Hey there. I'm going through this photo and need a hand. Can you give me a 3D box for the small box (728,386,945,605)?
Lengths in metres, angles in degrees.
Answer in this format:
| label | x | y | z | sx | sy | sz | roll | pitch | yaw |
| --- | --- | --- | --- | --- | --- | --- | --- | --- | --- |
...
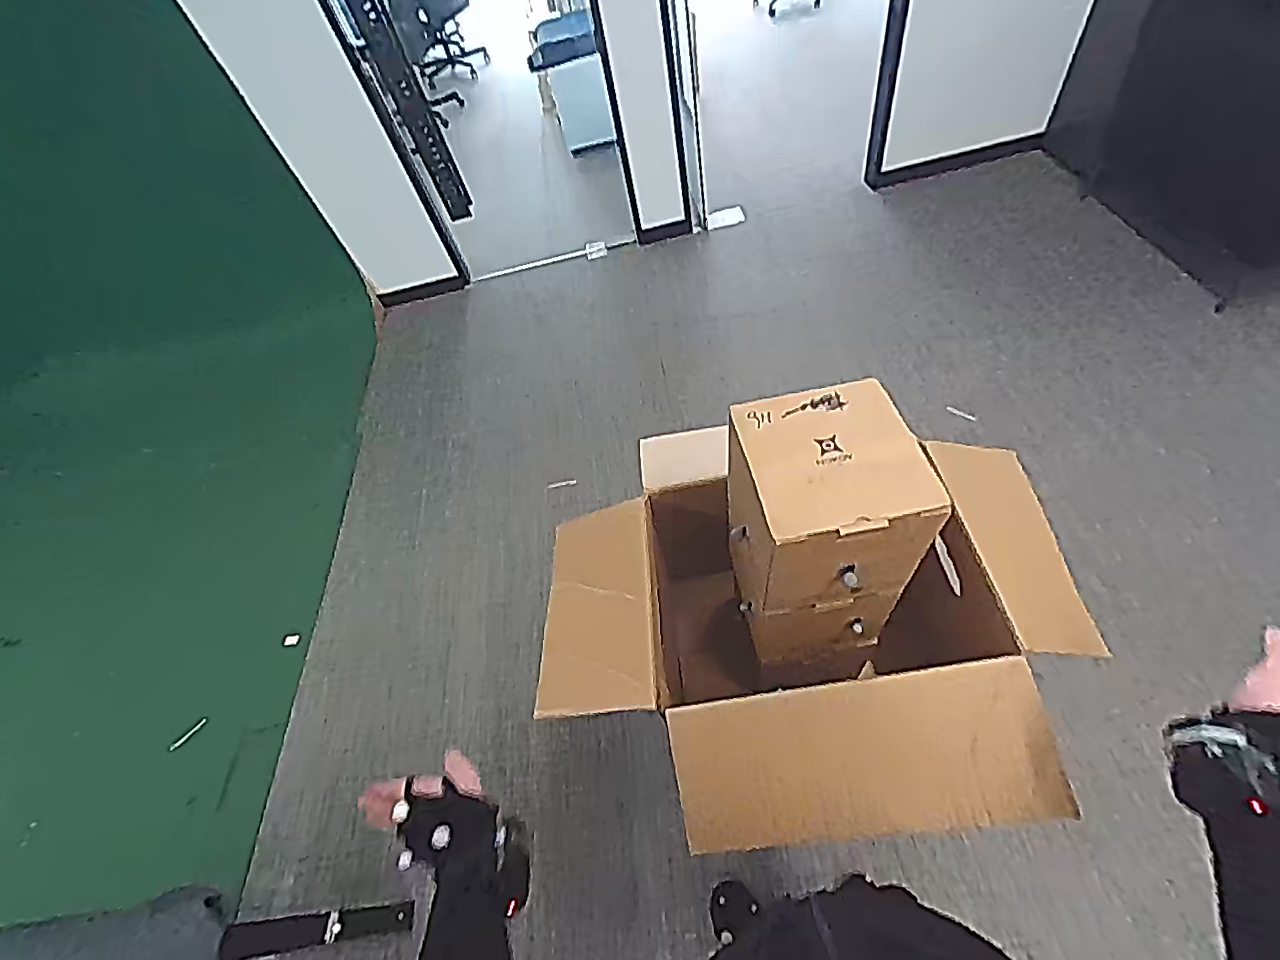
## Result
| label | x | y | z | sx | sy | sz | roll | pitch | yaw |
| --- | --- | --- | --- | --- | --- | --- | --- | --- | --- |
| small box | 0.197 | 0.027 | 0.602 | 0.168 | 0.176 | 0.179 | -10 | 54 | 1 |
